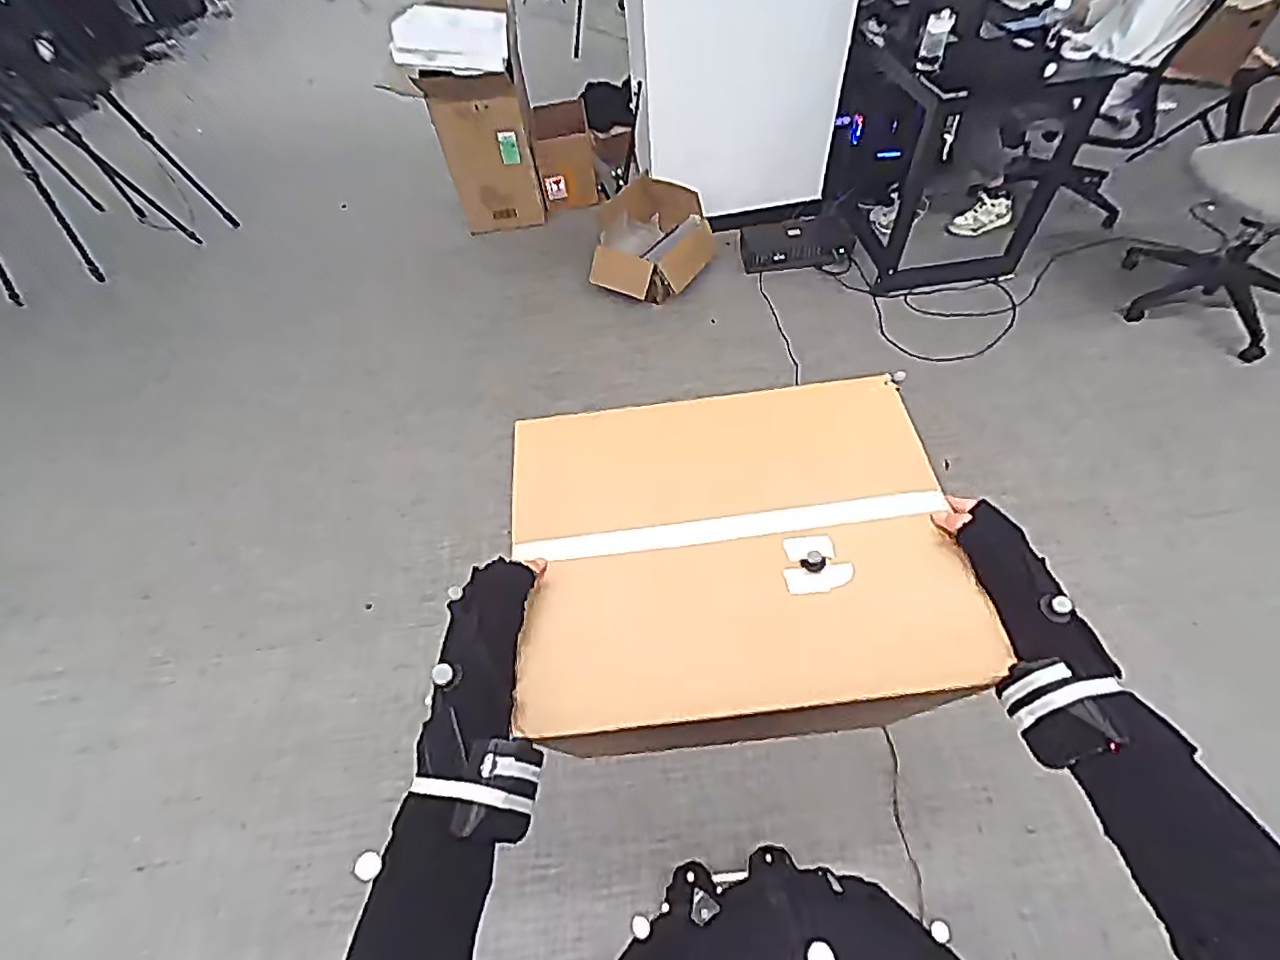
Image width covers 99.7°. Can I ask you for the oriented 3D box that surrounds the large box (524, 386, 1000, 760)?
[{"bbox_3d":[0.095,0.128,0.647,0.408,0.320,0.320,-7,59,1],"label":"large box"}]
